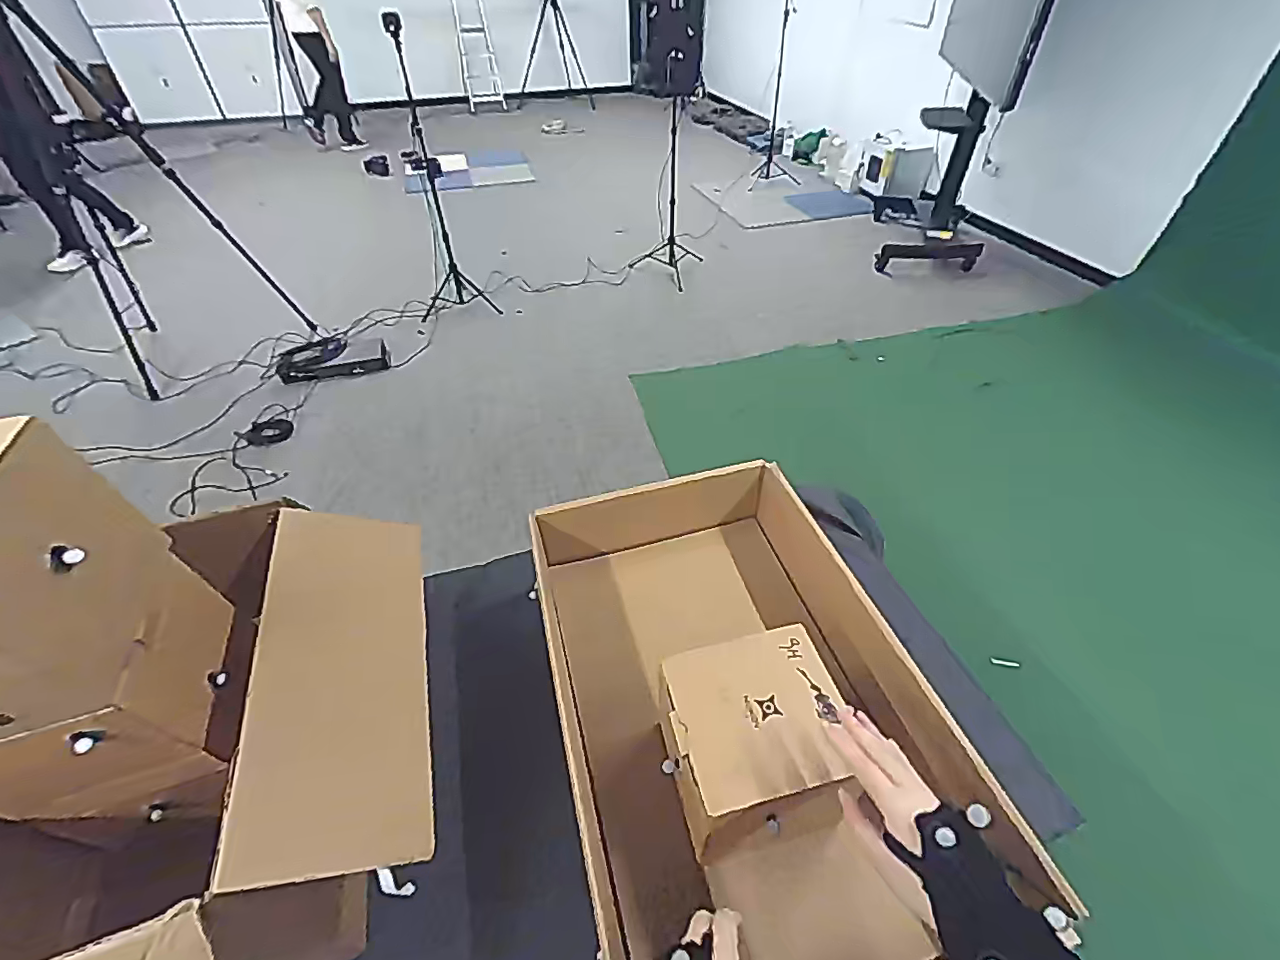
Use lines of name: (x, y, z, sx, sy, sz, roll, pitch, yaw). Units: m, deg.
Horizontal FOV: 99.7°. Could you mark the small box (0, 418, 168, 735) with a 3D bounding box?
small box: (-0.520, 0.082, 0.415, 0.168, 0.176, 0.179, -14, 49, -10)
